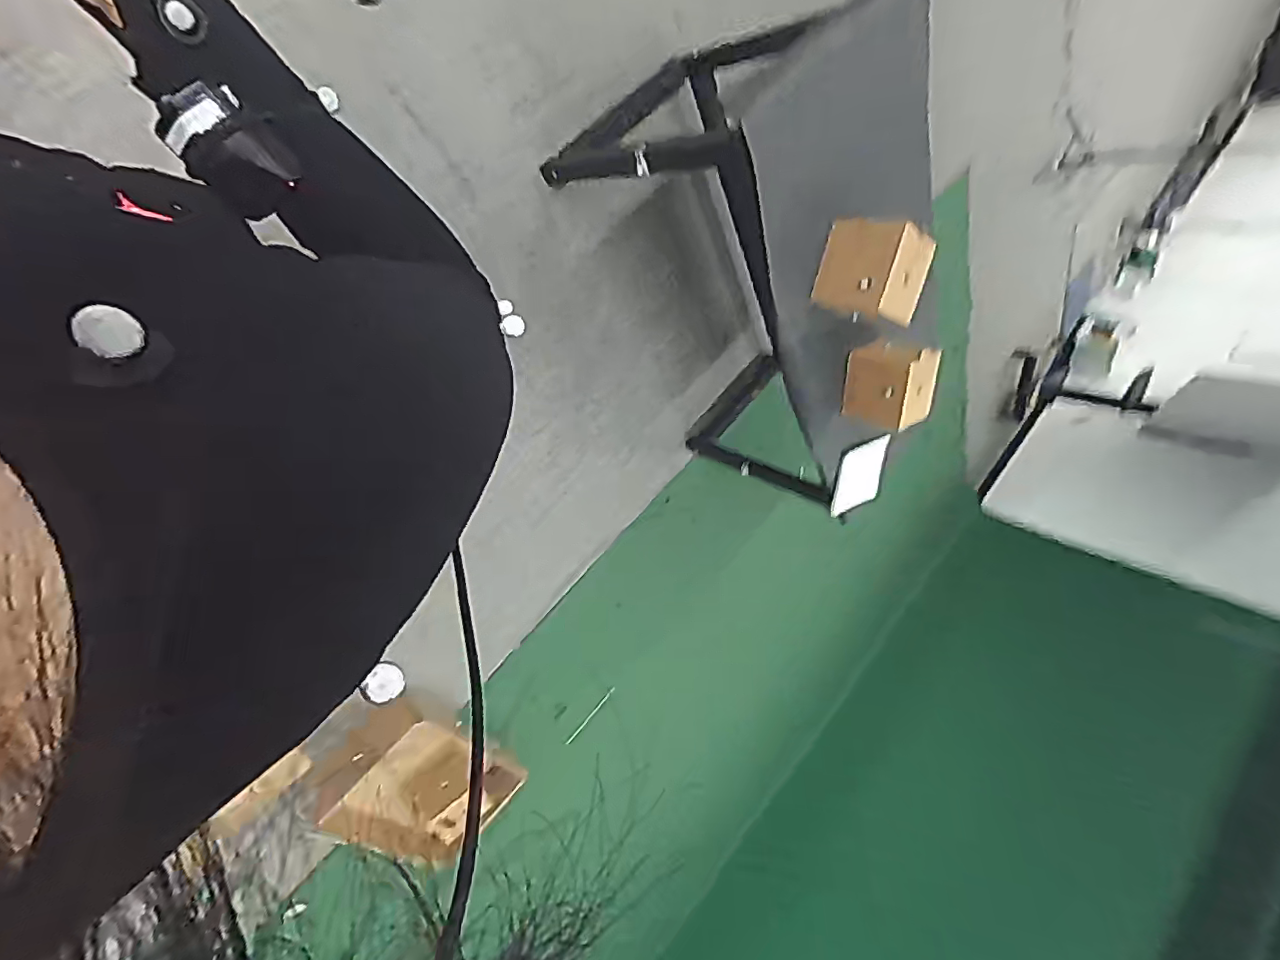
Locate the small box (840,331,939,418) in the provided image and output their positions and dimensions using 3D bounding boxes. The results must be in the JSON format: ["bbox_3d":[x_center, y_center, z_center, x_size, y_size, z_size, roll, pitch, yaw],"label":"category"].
[{"bbox_3d":[0.655,-0.285,1.433,0.168,0.176,0.179,-23,123,-34],"label":"small box"}]

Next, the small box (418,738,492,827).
[{"bbox_3d":[-0.652,1.052,1.889,0.179,0.176,0.168,-34,129,-25],"label":"small box"}]

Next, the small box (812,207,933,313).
[{"bbox_3d":[0.506,-0.485,1.195,0.168,0.176,0.179,-1,110,-43],"label":"small box"}]
